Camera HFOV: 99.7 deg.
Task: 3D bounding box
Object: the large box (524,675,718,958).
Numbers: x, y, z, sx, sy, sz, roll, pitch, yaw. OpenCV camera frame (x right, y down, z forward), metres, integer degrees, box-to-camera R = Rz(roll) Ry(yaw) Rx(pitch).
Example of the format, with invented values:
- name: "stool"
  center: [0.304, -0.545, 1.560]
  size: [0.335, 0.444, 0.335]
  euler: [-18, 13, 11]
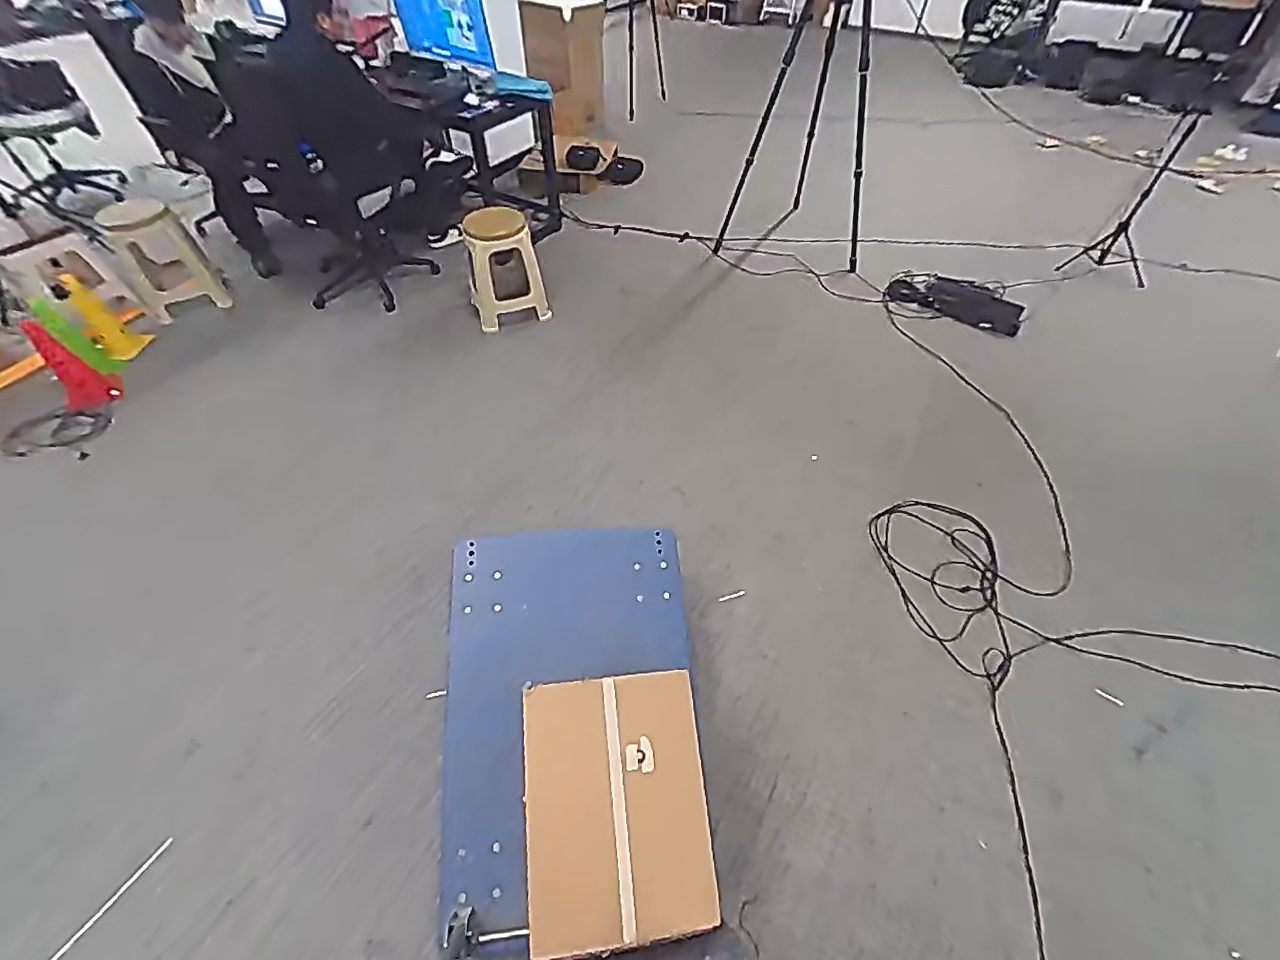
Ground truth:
- name: "large box"
  center: [-0.058, 0.630, 1.092]
  size: [0.320, 0.320, 0.408]
  euler: [-3, 68, -9]
